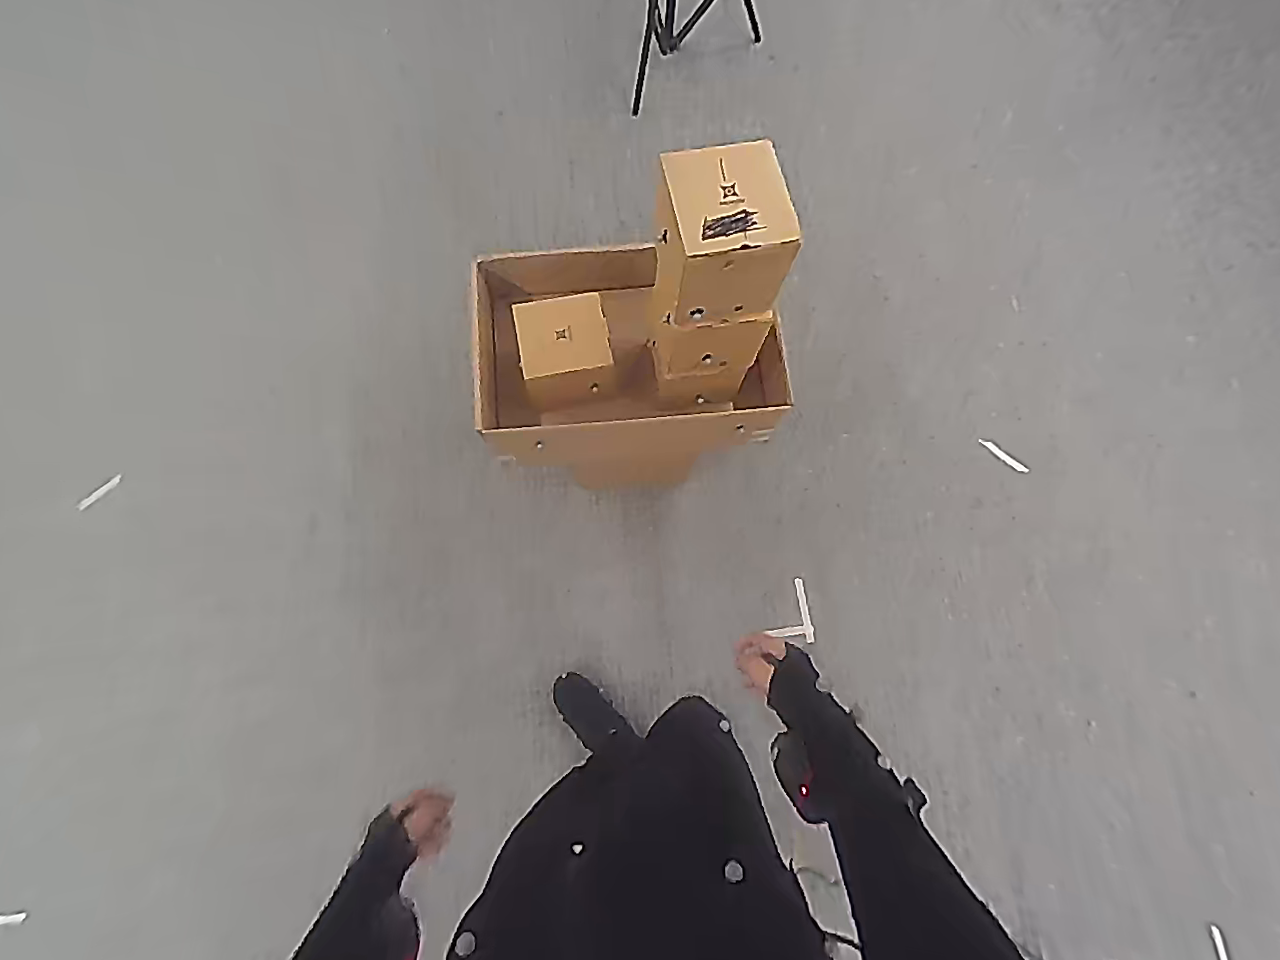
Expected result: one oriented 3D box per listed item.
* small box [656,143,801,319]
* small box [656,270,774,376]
[{"bbox_3d":[0.122,-0.363,0.820,0.168,0.176,0.179,-11,75,-5],"label":"small box"},{"bbox_3d":[0.125,-0.310,0.976,0.168,0.176,0.179,-8,76,-4],"label":"small box"}]
